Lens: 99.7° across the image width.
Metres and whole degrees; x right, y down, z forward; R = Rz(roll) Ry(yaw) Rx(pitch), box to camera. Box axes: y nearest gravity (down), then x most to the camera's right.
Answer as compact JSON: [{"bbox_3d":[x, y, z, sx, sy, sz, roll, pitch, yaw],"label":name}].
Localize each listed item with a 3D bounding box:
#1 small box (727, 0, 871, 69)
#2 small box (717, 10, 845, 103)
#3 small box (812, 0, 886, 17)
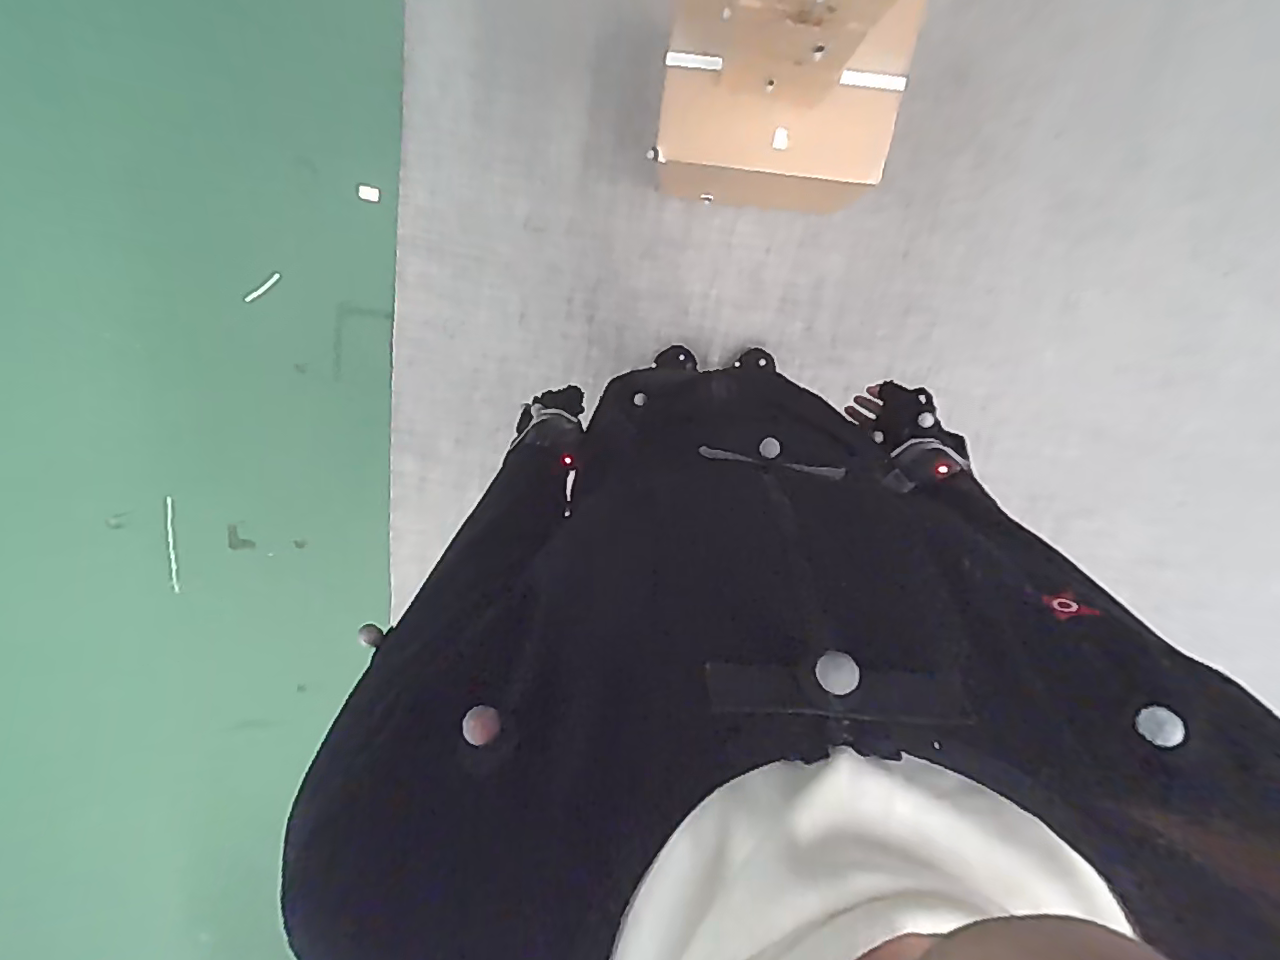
[{"bbox_3d":[0.209,-0.652,0.674,0.168,0.176,0.179,11,111,-1],"label":"small box"},{"bbox_3d":[0.226,-0.706,0.823,0.179,0.176,0.168,15,111,-1],"label":"small box"},{"bbox_3d":[0.206,-0.595,0.521,0.168,0.176,0.179,13,113,-1],"label":"small box"}]
